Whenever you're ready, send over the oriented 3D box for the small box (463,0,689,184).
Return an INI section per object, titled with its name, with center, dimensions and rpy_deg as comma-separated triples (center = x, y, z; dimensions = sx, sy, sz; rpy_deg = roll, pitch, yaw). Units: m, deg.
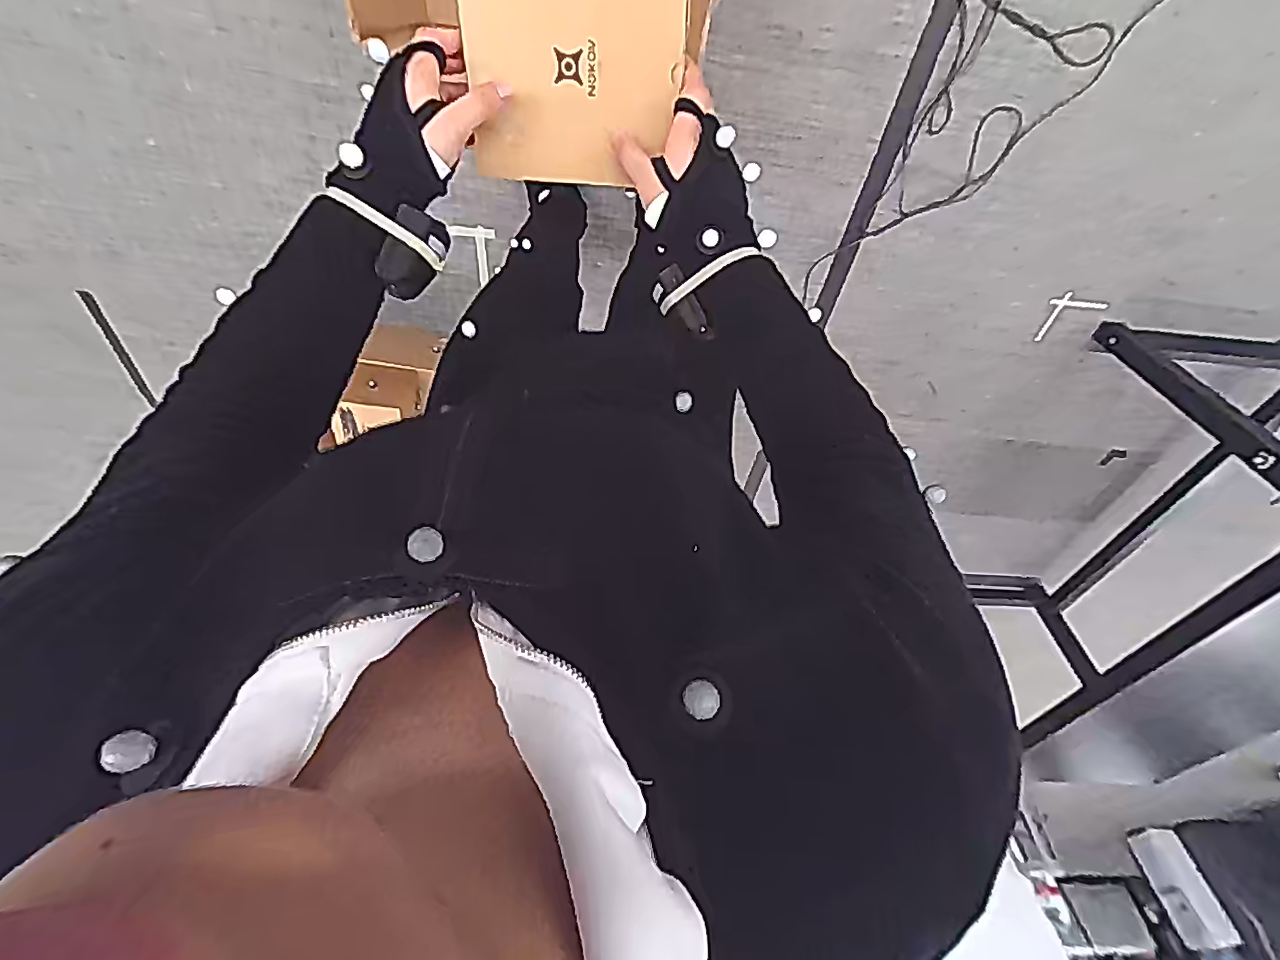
[small box]
center = -0.049, -0.387, 0.500
dimensions = 0.179, 0.176, 0.168
rpy_deg = 3, 130, -1
